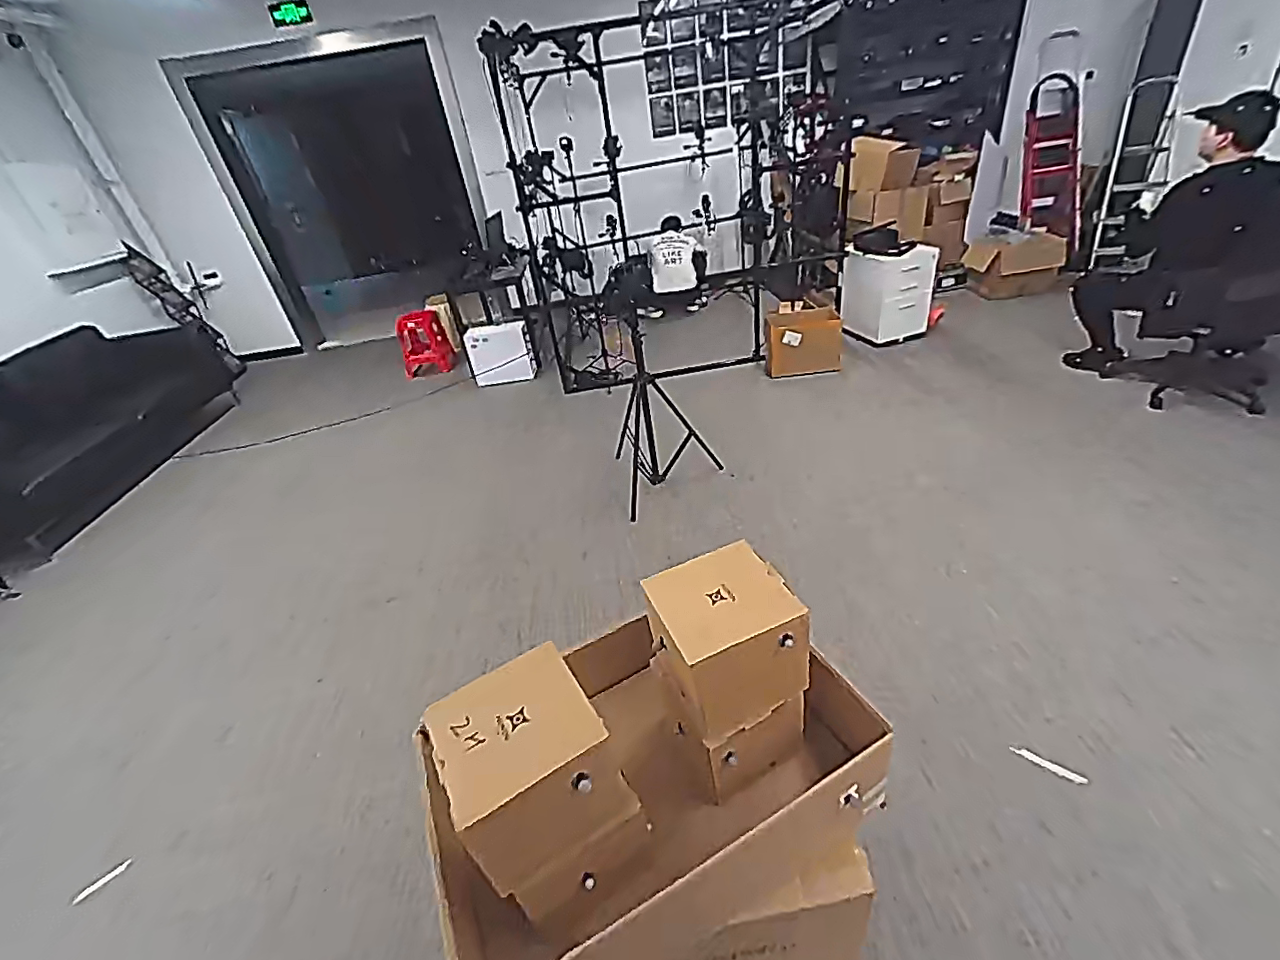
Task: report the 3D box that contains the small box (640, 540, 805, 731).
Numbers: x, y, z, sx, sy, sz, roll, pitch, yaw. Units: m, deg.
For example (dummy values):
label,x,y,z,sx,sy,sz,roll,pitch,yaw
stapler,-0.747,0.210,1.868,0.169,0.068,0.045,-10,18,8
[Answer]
label,x,y,z,sx,sy,sz,roll,pitch,yaw
small box,0.120,0.223,0.780,0.179,0.176,0.168,-20,35,-14

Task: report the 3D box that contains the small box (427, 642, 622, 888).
label,x,y,z,sx,sy,sz,roll,pitch,yaw
small box,-0.134,0.344,0.667,0.179,0.176,0.168,-25,37,-21
